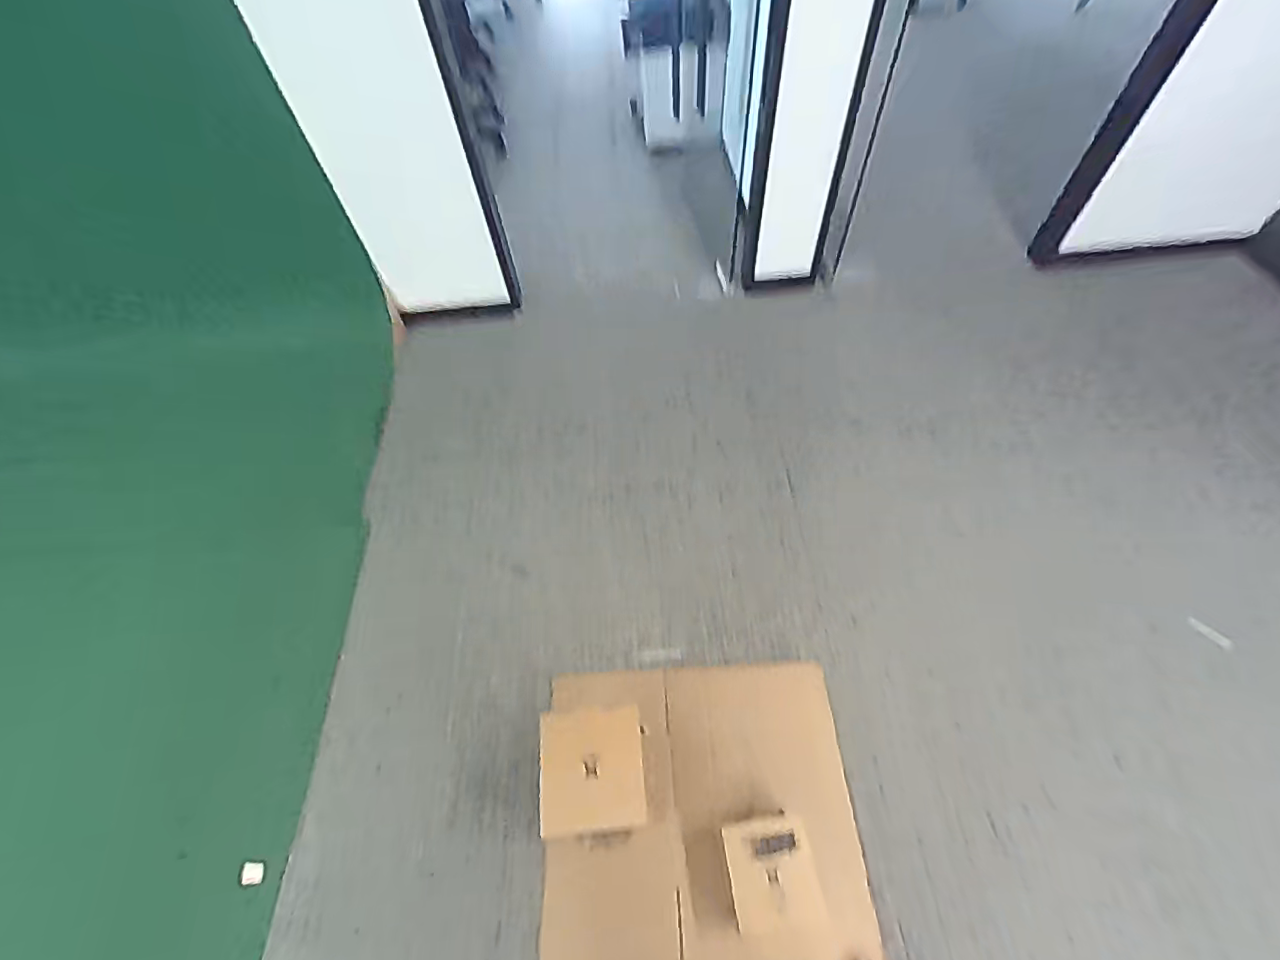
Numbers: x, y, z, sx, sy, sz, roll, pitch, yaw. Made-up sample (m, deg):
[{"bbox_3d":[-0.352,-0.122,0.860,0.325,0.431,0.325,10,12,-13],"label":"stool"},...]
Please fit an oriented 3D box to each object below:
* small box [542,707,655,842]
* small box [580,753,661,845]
[{"bbox_3d":[-0.067,0.501,0.917,0.168,0.176,0.179,-7,55,0],"label":"small box"},{"bbox_3d":[-0.050,0.684,1.185,0.168,0.176,0.179,-10,56,-2],"label":"small box"}]
